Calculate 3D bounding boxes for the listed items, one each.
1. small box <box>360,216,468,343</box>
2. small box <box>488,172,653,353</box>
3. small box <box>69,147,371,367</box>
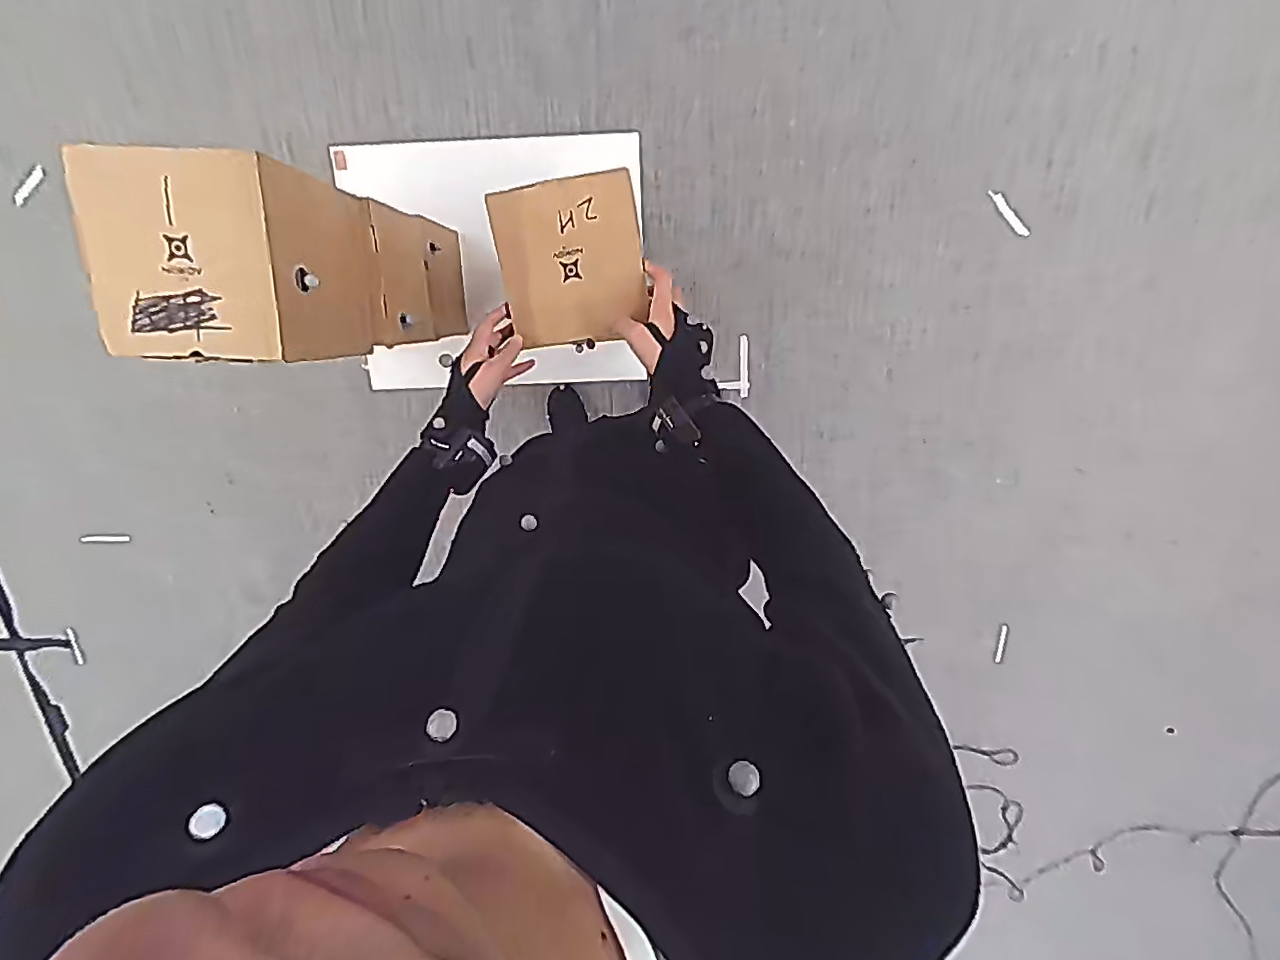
[{"bbox_3d":[-0.385,-0.312,0.863,0.168,0.176,0.179,-1,106,1],"label":"small box"},{"bbox_3d":[-0.075,-0.269,0.697,0.168,0.176,0.179,-8,106,4],"label":"small box"},{"bbox_3d":[-0.396,-0.213,0.549,0.168,0.176,0.179,2,106,0],"label":"small box"}]
